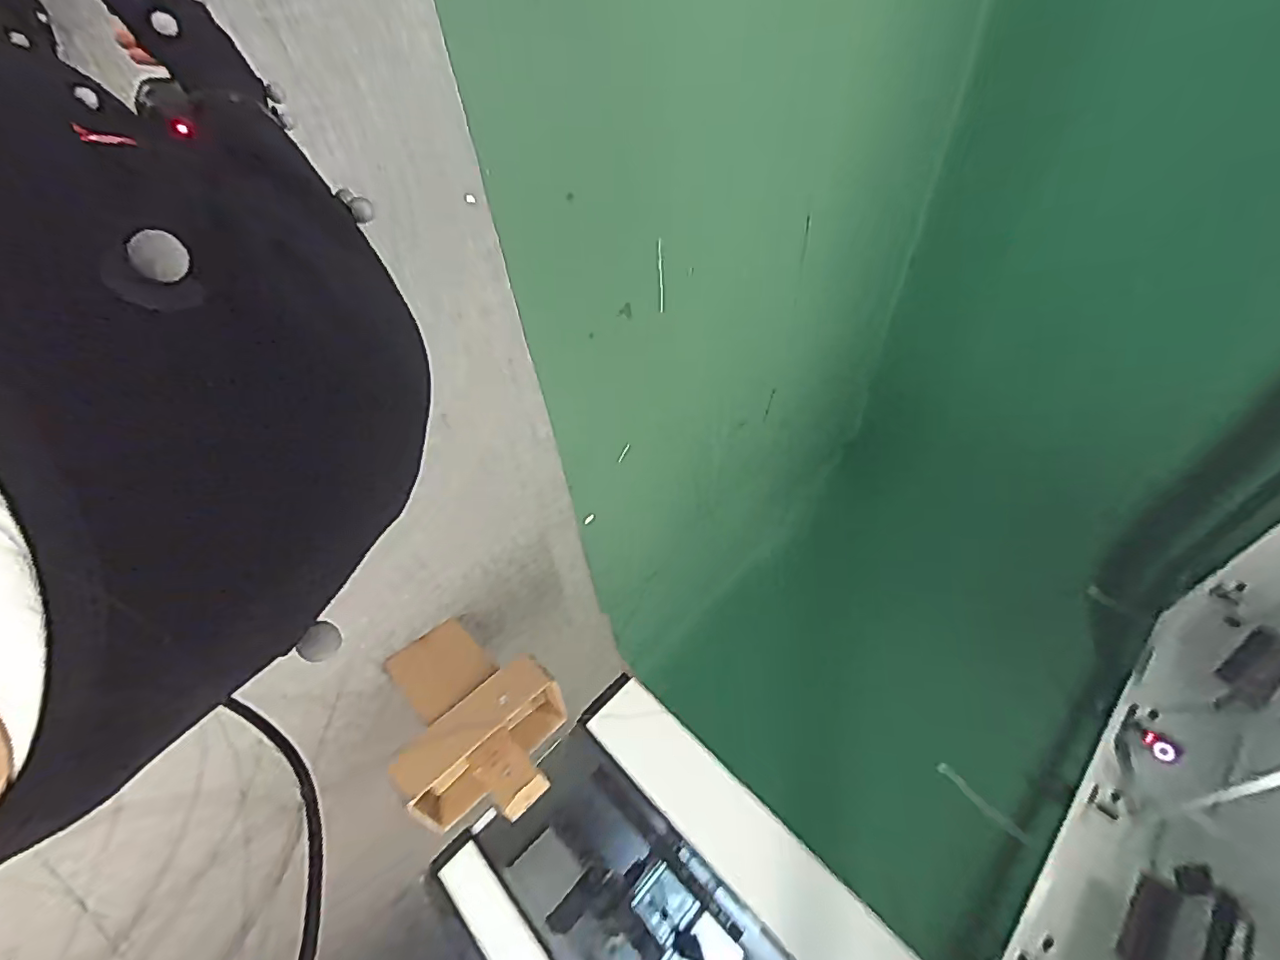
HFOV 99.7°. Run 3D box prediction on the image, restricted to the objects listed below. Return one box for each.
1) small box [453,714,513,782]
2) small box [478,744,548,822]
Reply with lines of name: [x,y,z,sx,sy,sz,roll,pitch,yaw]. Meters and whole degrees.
small box: [-0.587,1.027,2.065,0.168,0.176,0.179,-38,147,-25]
small box: [-0.468,1.106,1.986,0.168,0.176,0.179,-37,144,-25]
